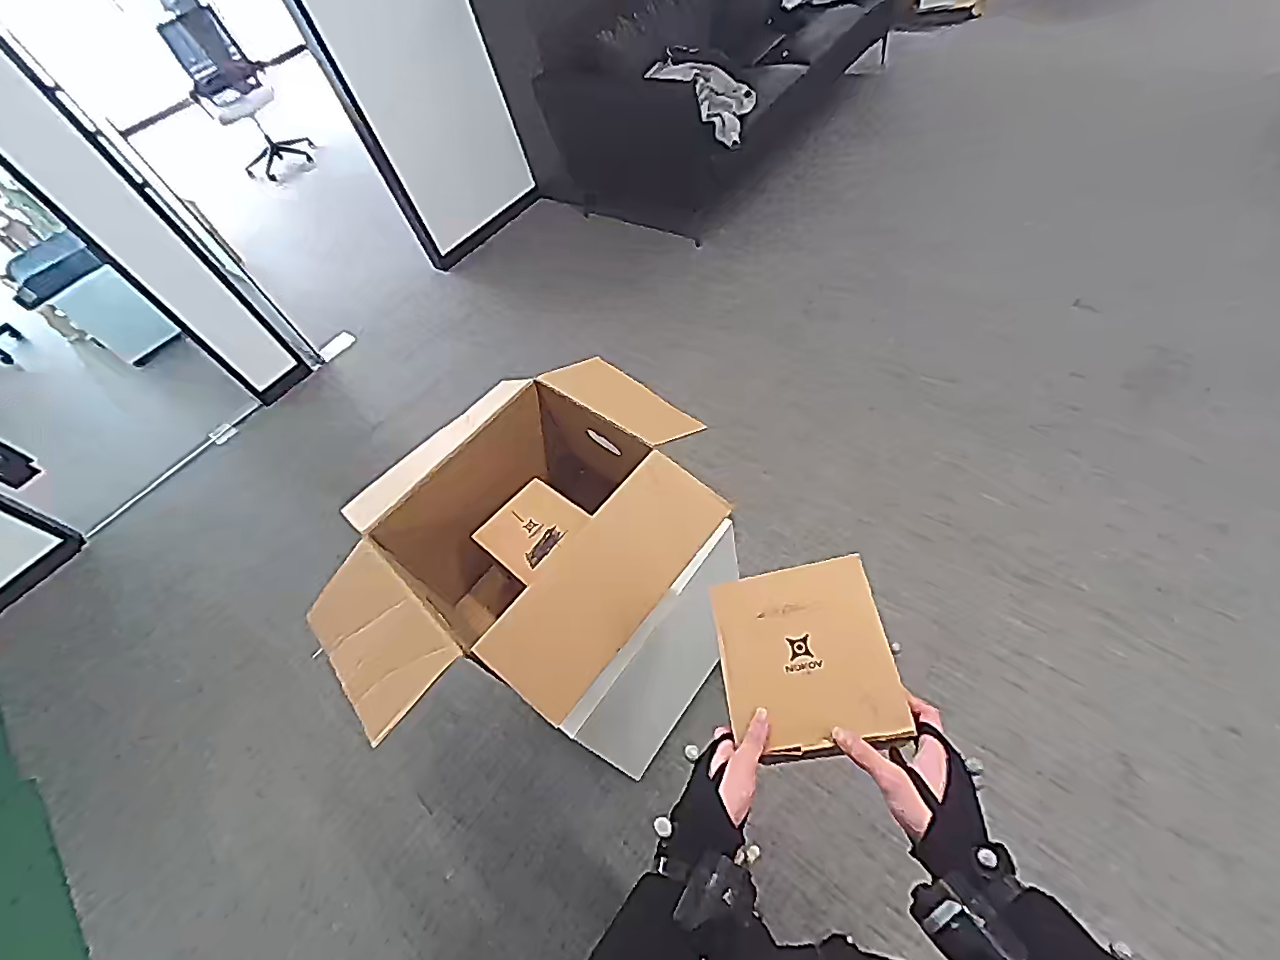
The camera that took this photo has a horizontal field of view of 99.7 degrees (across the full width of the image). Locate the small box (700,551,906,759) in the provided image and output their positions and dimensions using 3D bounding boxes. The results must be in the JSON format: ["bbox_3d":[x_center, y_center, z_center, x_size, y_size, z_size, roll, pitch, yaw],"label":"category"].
[{"bbox_3d":[0.177,0.202,0.596,0.168,0.176,0.179,-15,57,13],"label":"small box"}]
